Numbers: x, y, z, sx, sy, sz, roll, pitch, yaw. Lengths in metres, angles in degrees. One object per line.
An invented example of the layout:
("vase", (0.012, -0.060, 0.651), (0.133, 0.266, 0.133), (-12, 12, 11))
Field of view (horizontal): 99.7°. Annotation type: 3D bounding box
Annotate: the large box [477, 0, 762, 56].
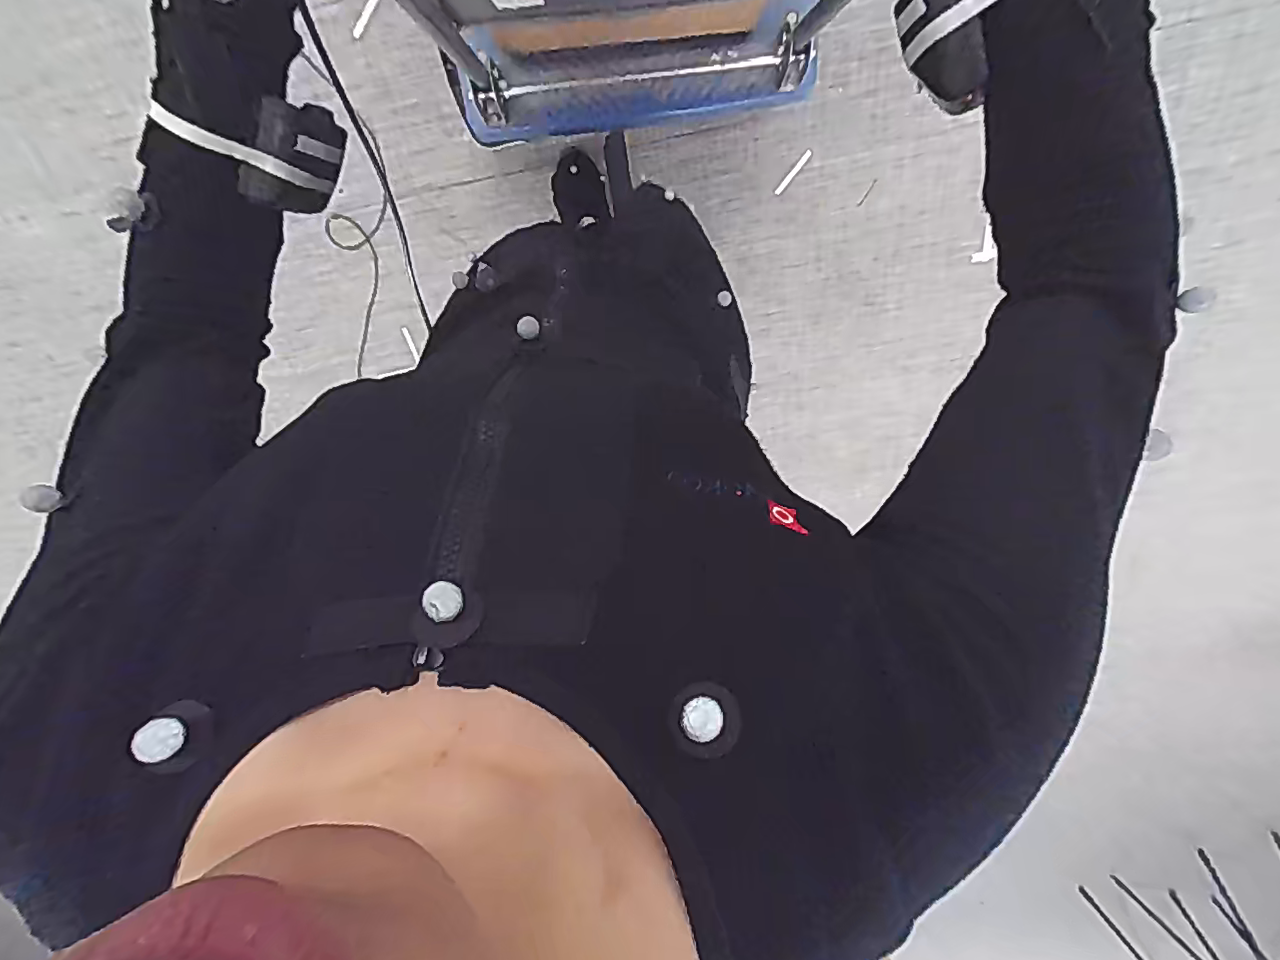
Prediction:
("large box", (-0.032, -0.784, 0.672), (0.408, 0.320, 0.320), (-6, 113, 0))
